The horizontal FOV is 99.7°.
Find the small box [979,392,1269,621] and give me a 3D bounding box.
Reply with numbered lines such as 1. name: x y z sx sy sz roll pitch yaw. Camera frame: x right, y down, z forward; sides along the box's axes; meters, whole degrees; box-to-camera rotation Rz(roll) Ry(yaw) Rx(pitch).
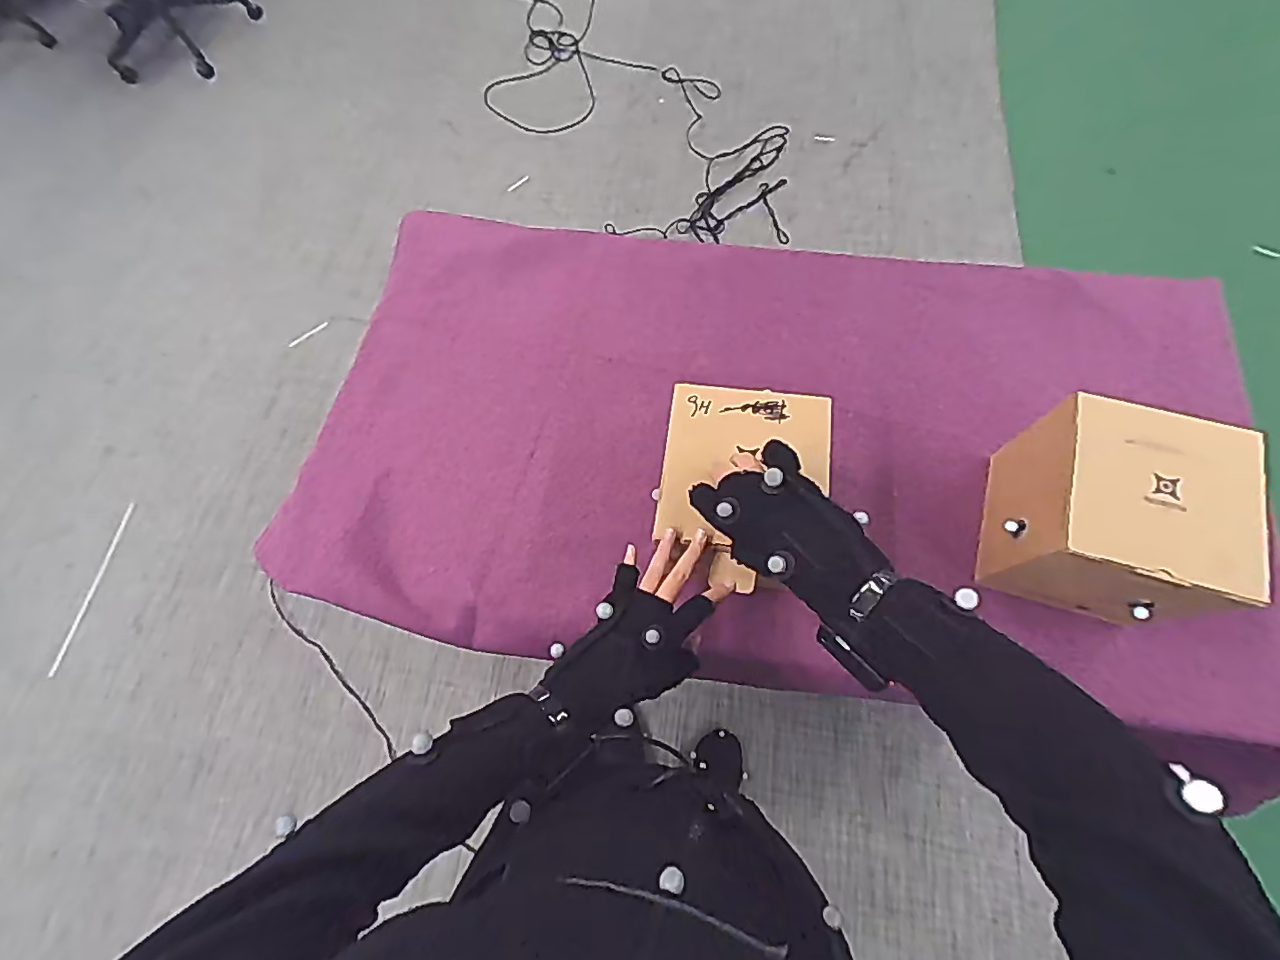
1. small box: 0.495 0.038 0.578 0.168 0.176 0.179 17 71 10

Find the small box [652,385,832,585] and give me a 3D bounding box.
1. small box: 0.111 0.015 0.616 0.168 0.176 0.179 7 70 7
